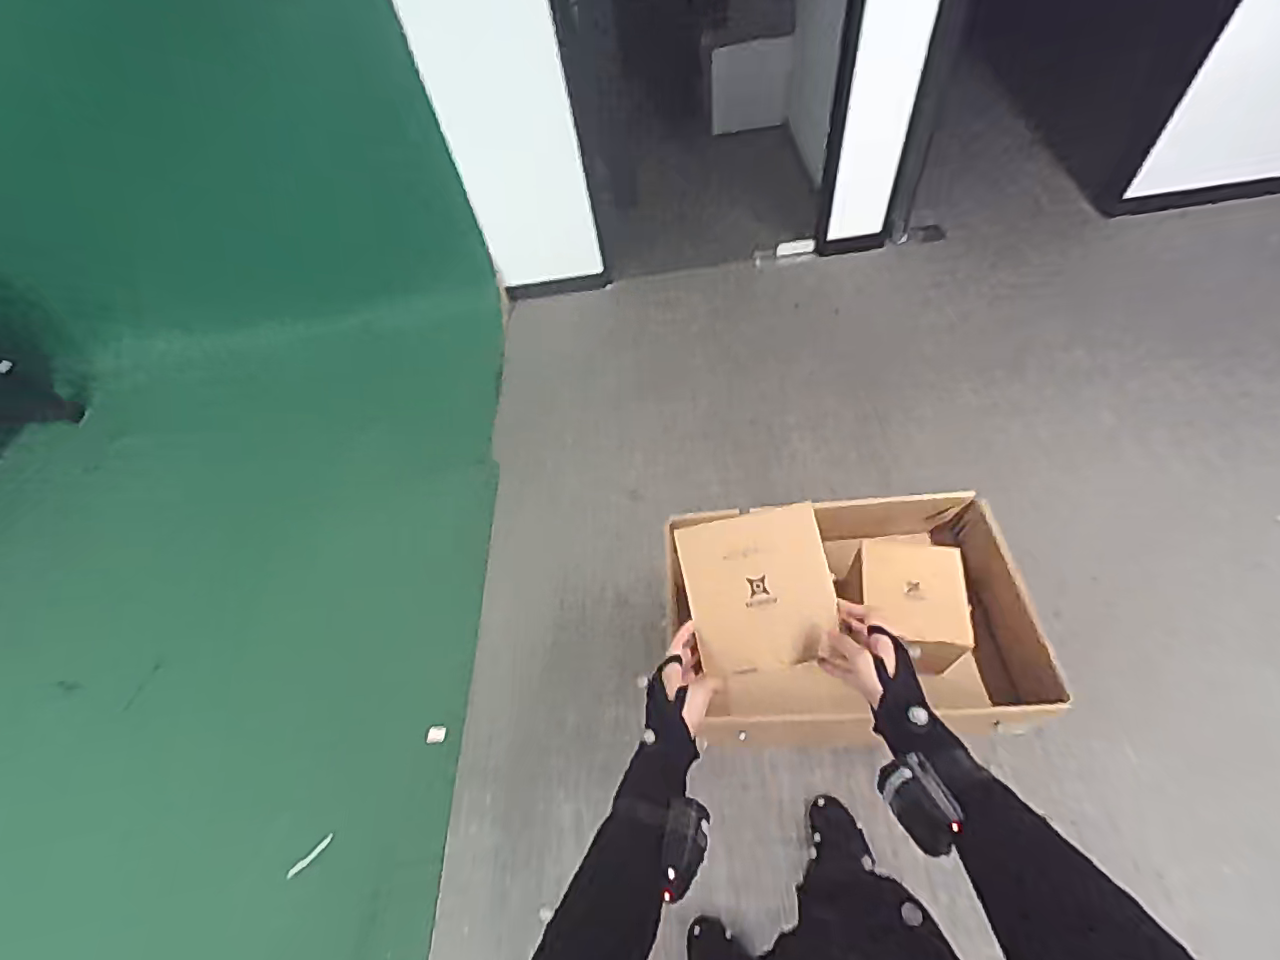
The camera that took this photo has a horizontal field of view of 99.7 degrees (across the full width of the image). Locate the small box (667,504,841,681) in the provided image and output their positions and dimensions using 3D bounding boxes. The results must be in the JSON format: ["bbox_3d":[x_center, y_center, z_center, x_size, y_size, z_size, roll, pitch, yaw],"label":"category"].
[{"bbox_3d":[0.134,0.136,0.686,0.168,0.176,0.179,-12,80,3],"label":"small box"}]
